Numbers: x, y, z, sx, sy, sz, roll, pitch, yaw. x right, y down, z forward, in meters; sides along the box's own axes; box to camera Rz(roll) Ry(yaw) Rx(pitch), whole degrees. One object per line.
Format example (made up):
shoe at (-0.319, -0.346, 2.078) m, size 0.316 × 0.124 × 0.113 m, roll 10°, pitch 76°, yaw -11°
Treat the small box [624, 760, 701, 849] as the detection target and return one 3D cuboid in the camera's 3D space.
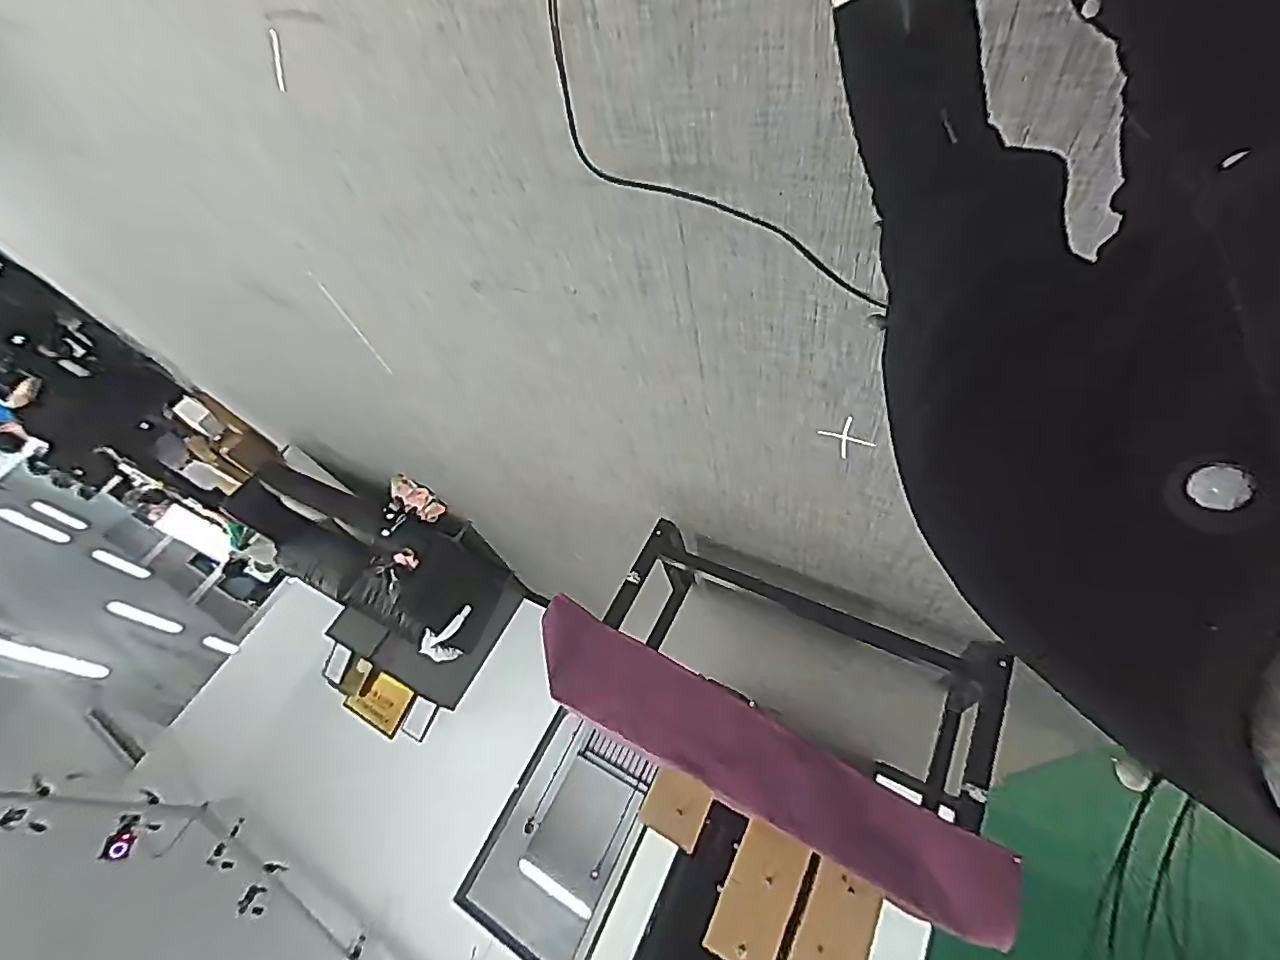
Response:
small box at (0.072, 0.965, 1.619) m, size 0.179 × 0.176 × 0.168 m, roll 22°, pitch 153°, yaw 16°
